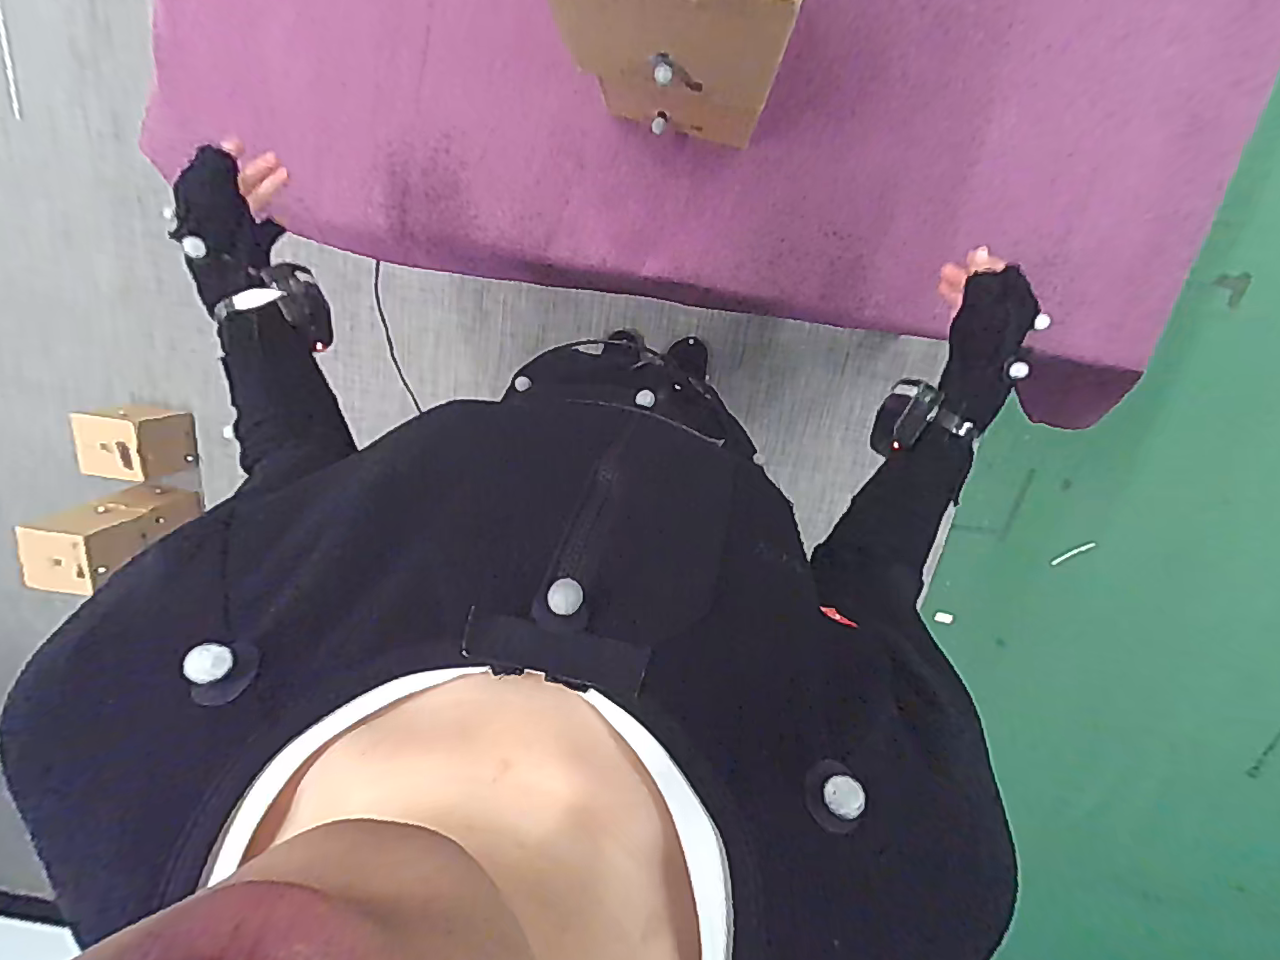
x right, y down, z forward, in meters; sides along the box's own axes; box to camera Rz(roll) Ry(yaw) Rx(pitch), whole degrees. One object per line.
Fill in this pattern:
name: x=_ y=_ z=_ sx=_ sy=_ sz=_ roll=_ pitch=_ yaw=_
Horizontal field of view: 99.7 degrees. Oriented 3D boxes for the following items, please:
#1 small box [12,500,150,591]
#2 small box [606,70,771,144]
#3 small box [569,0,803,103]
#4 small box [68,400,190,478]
small box: x=-1.418 y=0.161 z=1.384 sx=0.179 sy=0.176 sz=0.168 roll=10 pitch=107 yaw=2
small box: x=0.059 y=-0.459 z=0.518 sx=0.168 sy=0.176 sz=0.179 roll=15 pitch=108 yaw=0
small box: x=0.040 y=-0.399 z=0.365 sx=0.168 sy=0.176 sz=0.179 roll=13 pitch=107 yaw=1
small box: x=-1.370 y=-0.118 z=1.467 sx=0.179 sy=0.176 sz=0.168 roll=9 pitch=107 yaw=2
